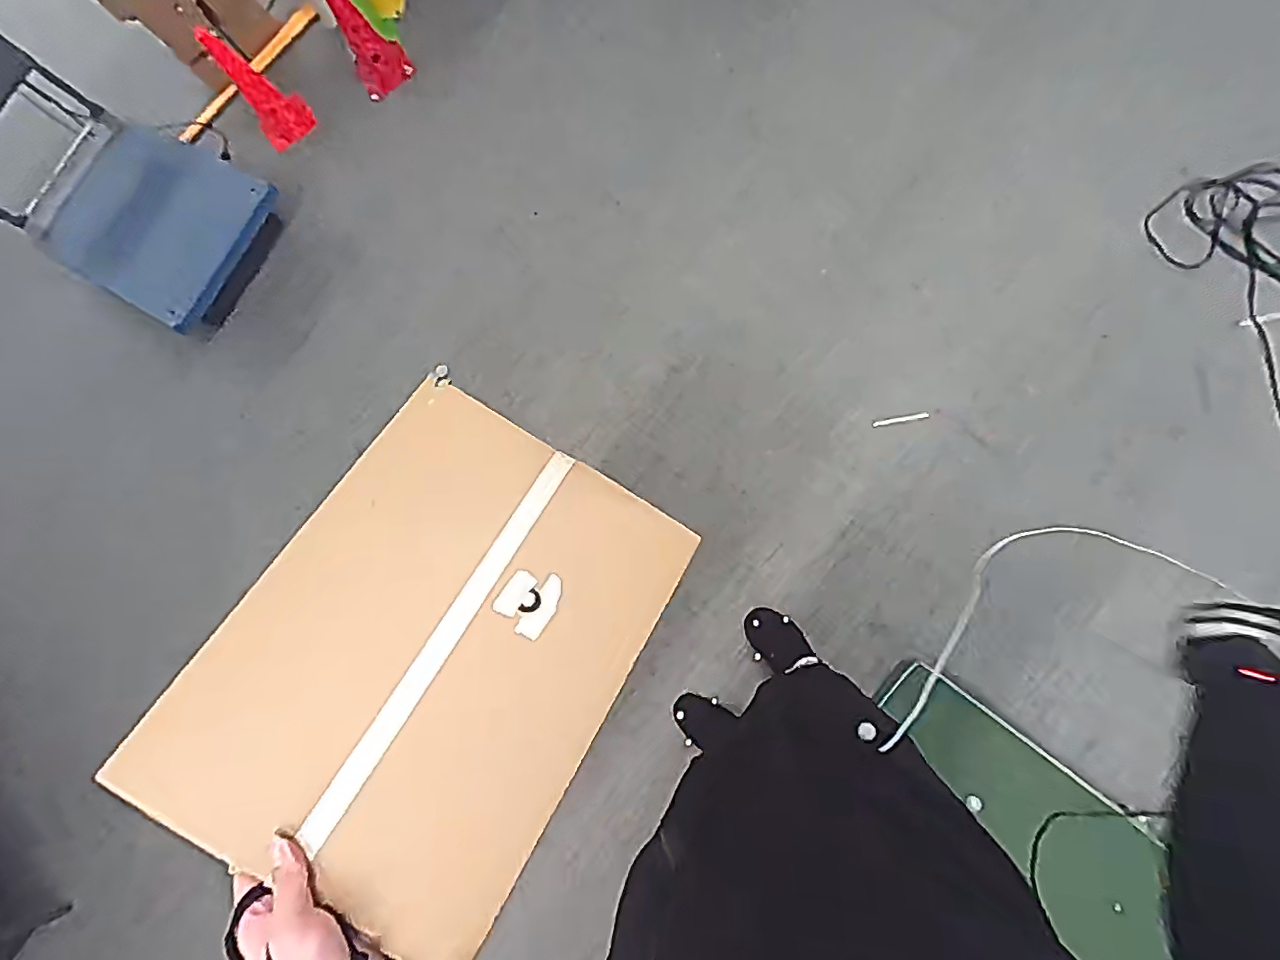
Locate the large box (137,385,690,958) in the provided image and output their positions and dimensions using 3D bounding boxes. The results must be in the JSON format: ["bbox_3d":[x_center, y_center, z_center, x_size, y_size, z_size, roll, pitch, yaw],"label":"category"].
[{"bbox_3d":[-0.198,0.183,0.625,0.320,0.320,0.408,32,69,-1],"label":"large box"}]
